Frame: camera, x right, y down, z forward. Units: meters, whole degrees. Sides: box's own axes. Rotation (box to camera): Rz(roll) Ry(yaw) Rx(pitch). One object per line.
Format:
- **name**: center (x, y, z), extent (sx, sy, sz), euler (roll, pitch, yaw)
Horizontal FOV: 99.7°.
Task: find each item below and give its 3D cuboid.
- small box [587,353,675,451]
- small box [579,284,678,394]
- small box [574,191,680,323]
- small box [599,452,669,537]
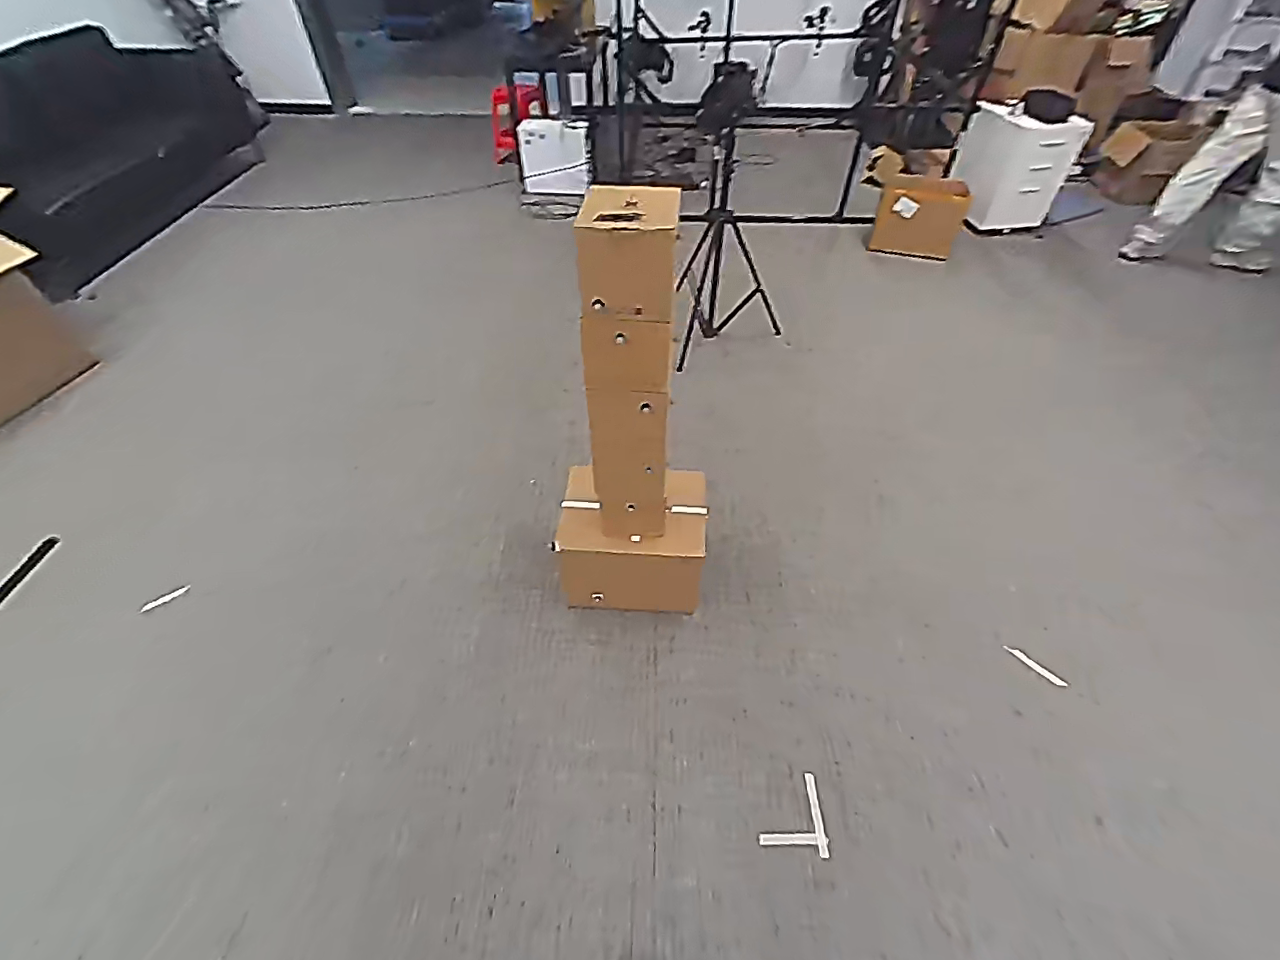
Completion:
- **small box**: center (-0.016, -0.181, 1.219), extent (0.179, 0.176, 0.168), euler (4, 48, 4)
- **small box**: center (-0.017, -0.290, 1.100), extent (0.179, 0.176, 0.168), euler (4, 49, 4)
- **small box**: center (-0.016, -0.401, 0.978), extent (0.168, 0.176, 0.179), euler (4, 48, 4)
- **small box**: center (-0.012, 0.041, 1.461), extent (0.179, 0.176, 0.168), euler (1, 49, 1)
